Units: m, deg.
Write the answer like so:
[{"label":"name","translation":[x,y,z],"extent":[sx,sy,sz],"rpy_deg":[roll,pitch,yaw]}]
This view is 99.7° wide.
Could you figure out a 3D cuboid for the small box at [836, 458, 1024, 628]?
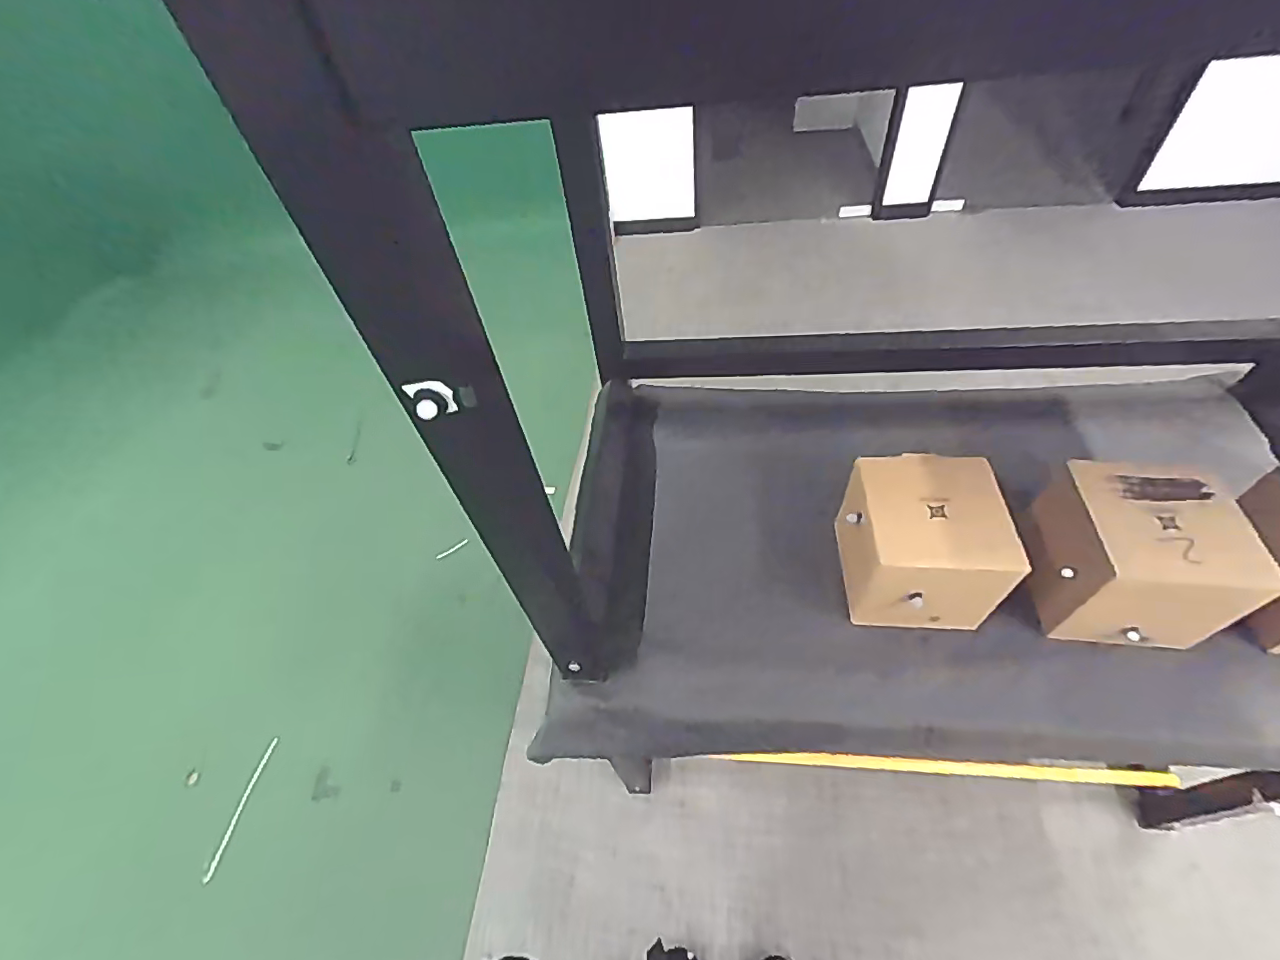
[{"label":"small box","translation":[0.377,0.089,0.742],"extent":[0.168,0.176,0.179],"rpy_deg":[0,50,8]}]

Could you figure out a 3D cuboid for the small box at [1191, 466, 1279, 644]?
[{"label":"small box","translation":[0.864,0.100,0.666],"extent":[0.168,0.176,0.179],"rpy_deg":[0,49,7]}]
